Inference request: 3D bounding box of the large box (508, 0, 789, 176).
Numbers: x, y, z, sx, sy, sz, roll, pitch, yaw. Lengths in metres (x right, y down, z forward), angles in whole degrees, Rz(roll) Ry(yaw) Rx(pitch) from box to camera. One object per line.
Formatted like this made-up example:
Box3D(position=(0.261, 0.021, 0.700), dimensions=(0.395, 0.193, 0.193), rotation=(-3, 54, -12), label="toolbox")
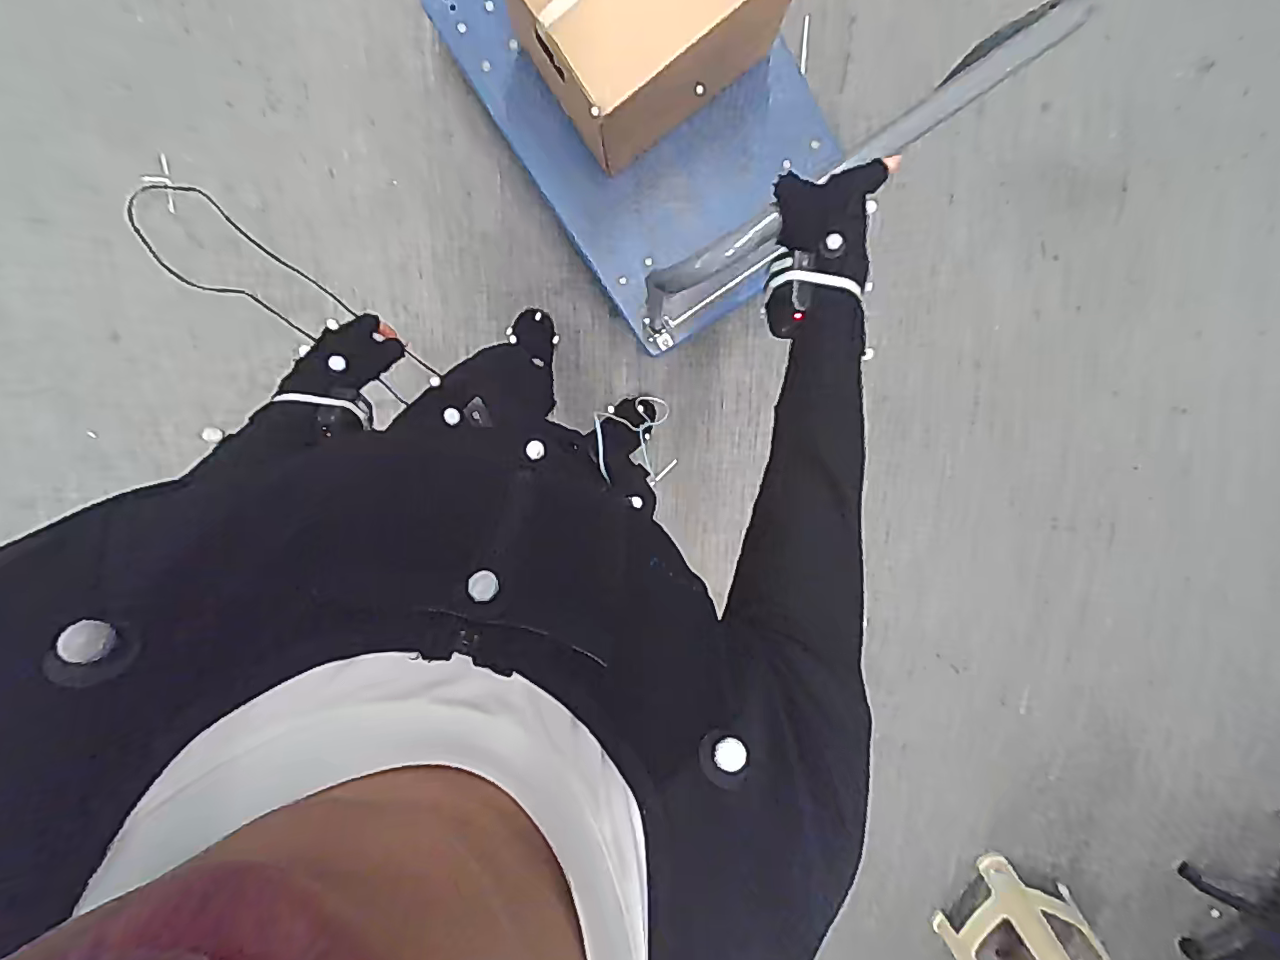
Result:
Box3D(position=(0.016, -0.839, 0.955), dimensions=(0.408, 0.320, 0.320), rotation=(-35, 100, 8), label="large box")
